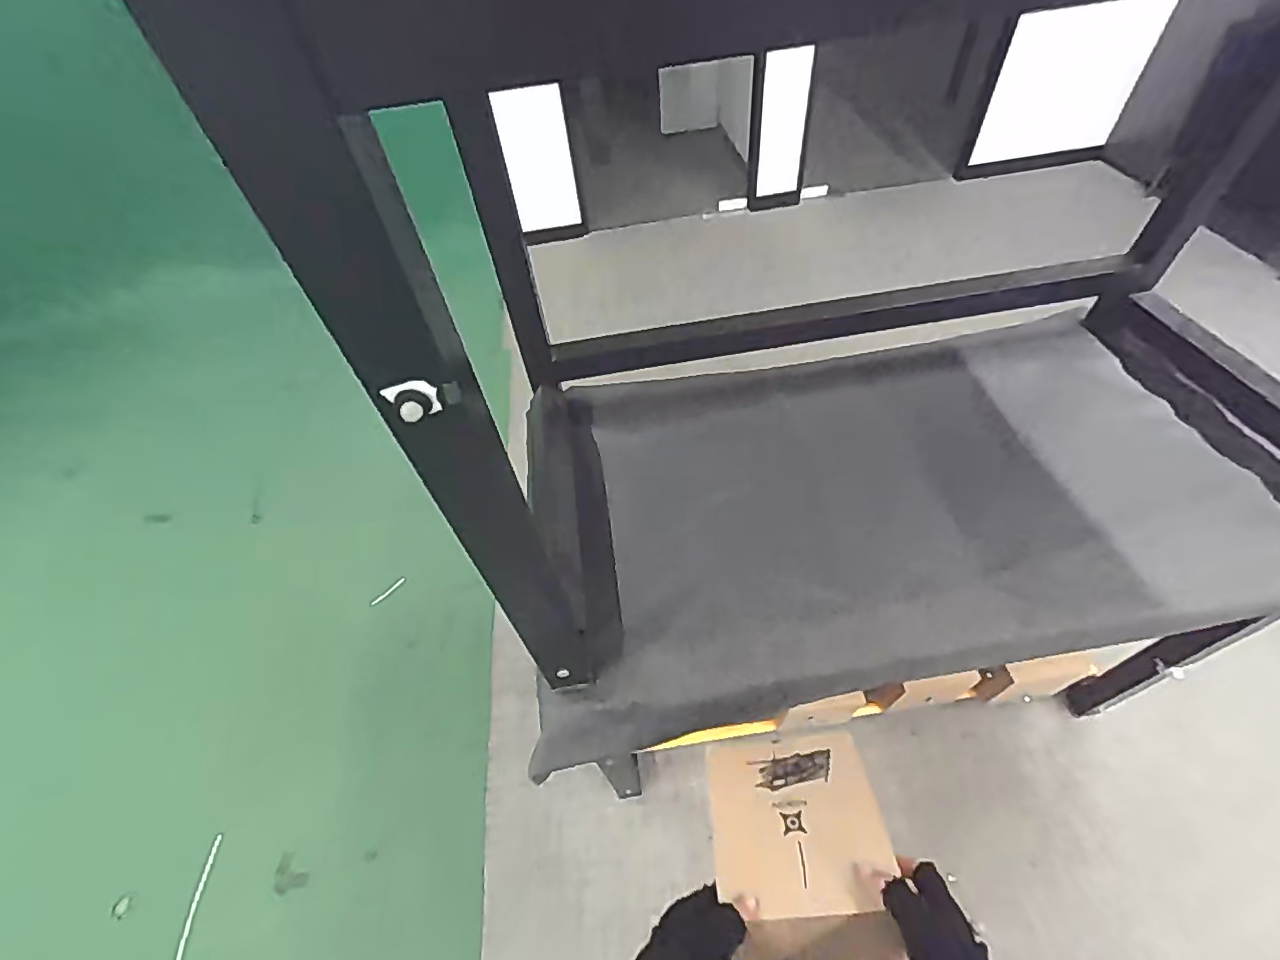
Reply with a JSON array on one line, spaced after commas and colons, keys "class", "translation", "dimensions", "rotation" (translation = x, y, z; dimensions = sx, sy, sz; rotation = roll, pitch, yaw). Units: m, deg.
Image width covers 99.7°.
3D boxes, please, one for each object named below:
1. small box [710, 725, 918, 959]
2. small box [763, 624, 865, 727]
[{"class": "small box", "translation": [0.170, 0.393, 0.568], "dimensions": [0.168, 0.176, 0.179], "rotation": [-10, 28, 7]}, {"class": "small box", "translation": [0.387, 0.452, 1.234], "dimensions": [0.168, 0.176, 0.179], "rotation": [-8, 52, -1]}]
